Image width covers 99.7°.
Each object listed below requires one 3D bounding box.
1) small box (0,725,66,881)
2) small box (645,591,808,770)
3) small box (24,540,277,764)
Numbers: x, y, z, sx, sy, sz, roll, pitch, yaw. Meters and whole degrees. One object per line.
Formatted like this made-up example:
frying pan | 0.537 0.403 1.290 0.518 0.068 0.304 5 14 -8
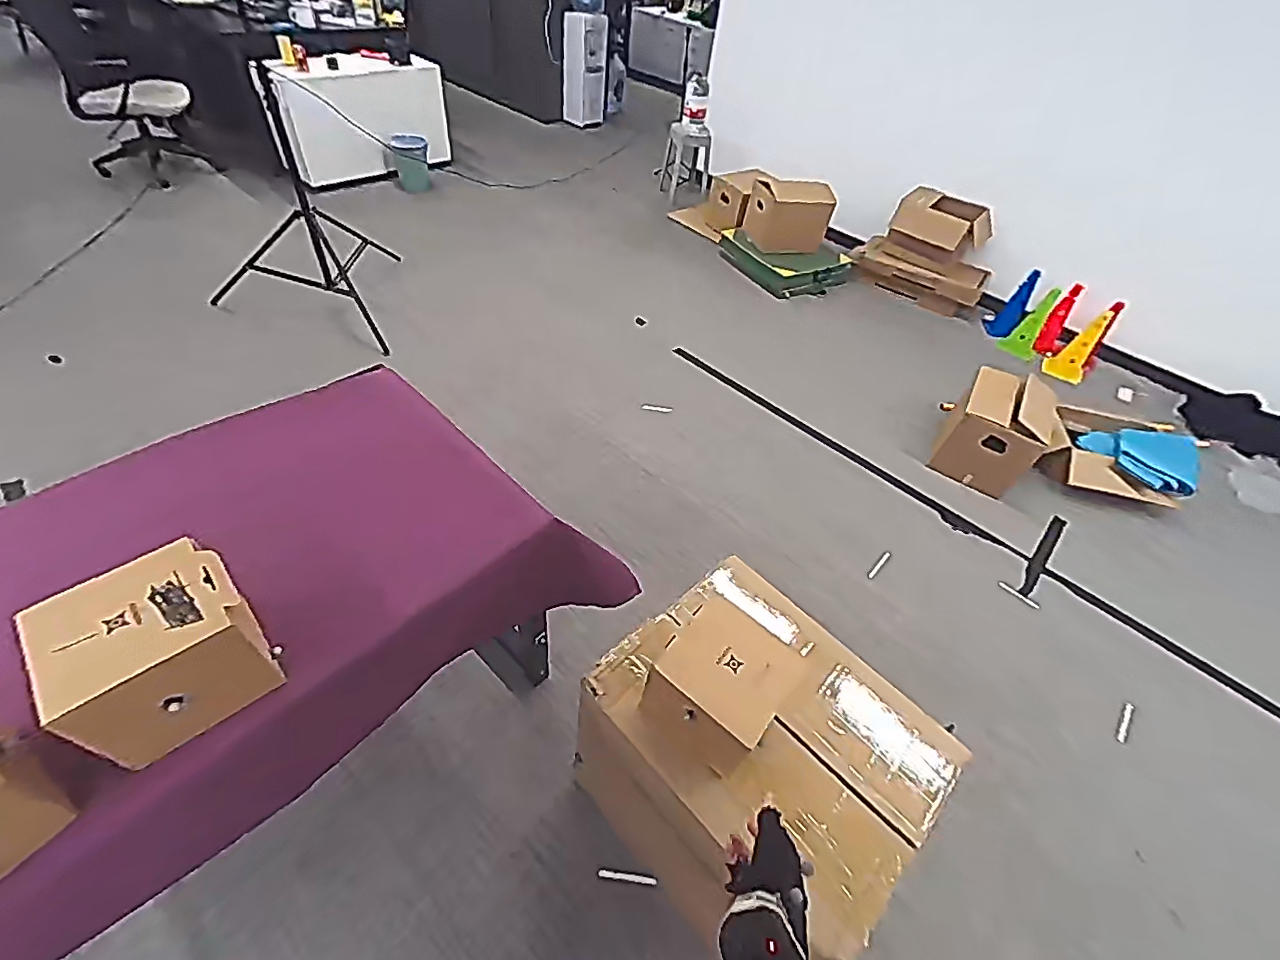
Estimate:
small box | -0.749 0.344 0.542 0.168 0.176 0.179 28 48 18
small box | 0.125 0.315 0.844 0.179 0.176 0.168 35 54 20
small box | -0.595 0.216 0.683 0.179 0.176 0.168 -32 58 -31
